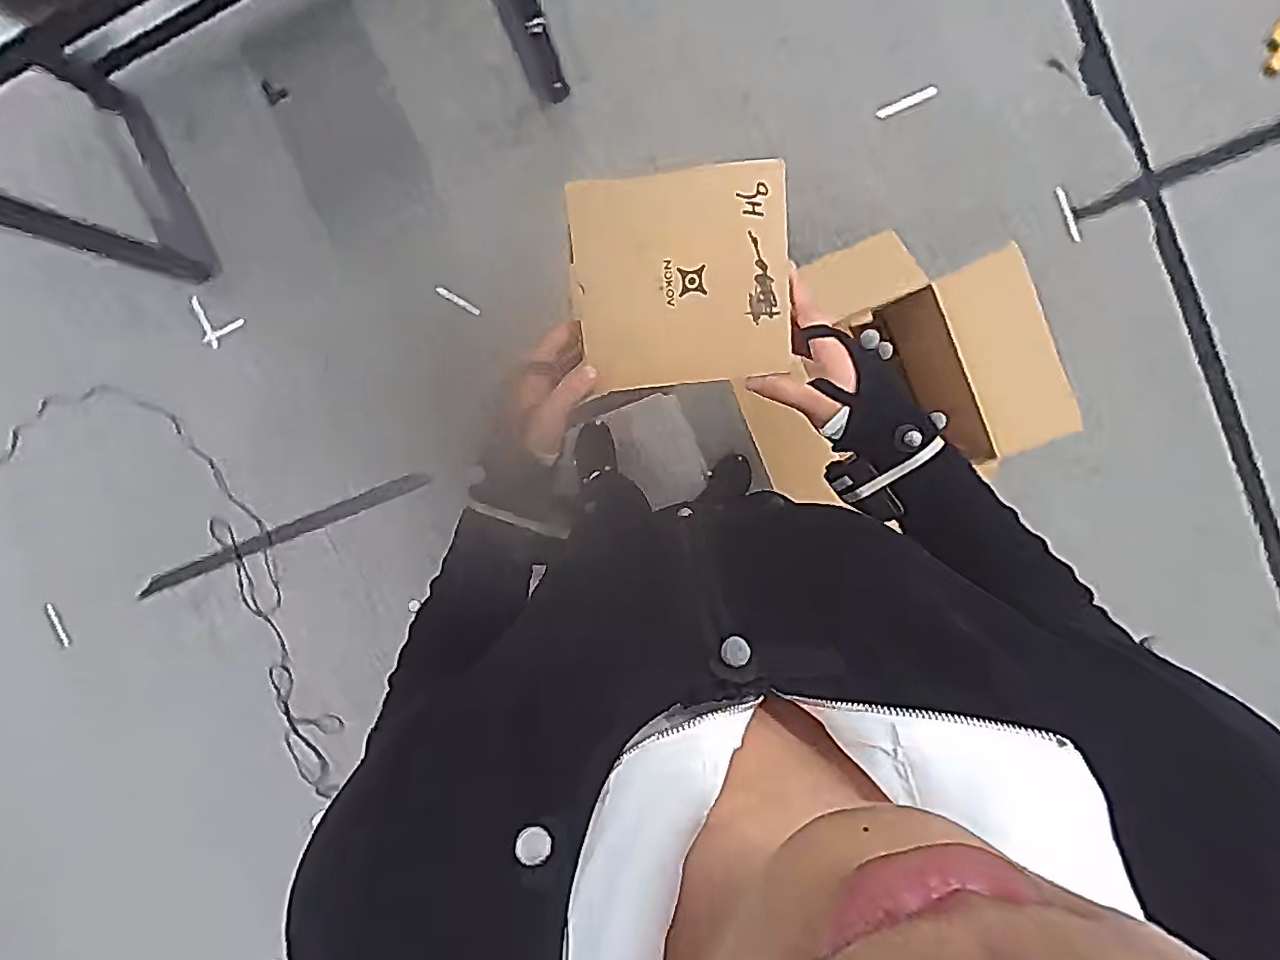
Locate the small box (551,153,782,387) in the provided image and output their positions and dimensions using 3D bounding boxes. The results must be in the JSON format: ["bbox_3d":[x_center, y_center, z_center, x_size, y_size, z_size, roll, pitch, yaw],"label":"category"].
[{"bbox_3d":[0.026,-0.181,0.512,0.179,0.176,0.168,-6,103,2],"label":"small box"}]
